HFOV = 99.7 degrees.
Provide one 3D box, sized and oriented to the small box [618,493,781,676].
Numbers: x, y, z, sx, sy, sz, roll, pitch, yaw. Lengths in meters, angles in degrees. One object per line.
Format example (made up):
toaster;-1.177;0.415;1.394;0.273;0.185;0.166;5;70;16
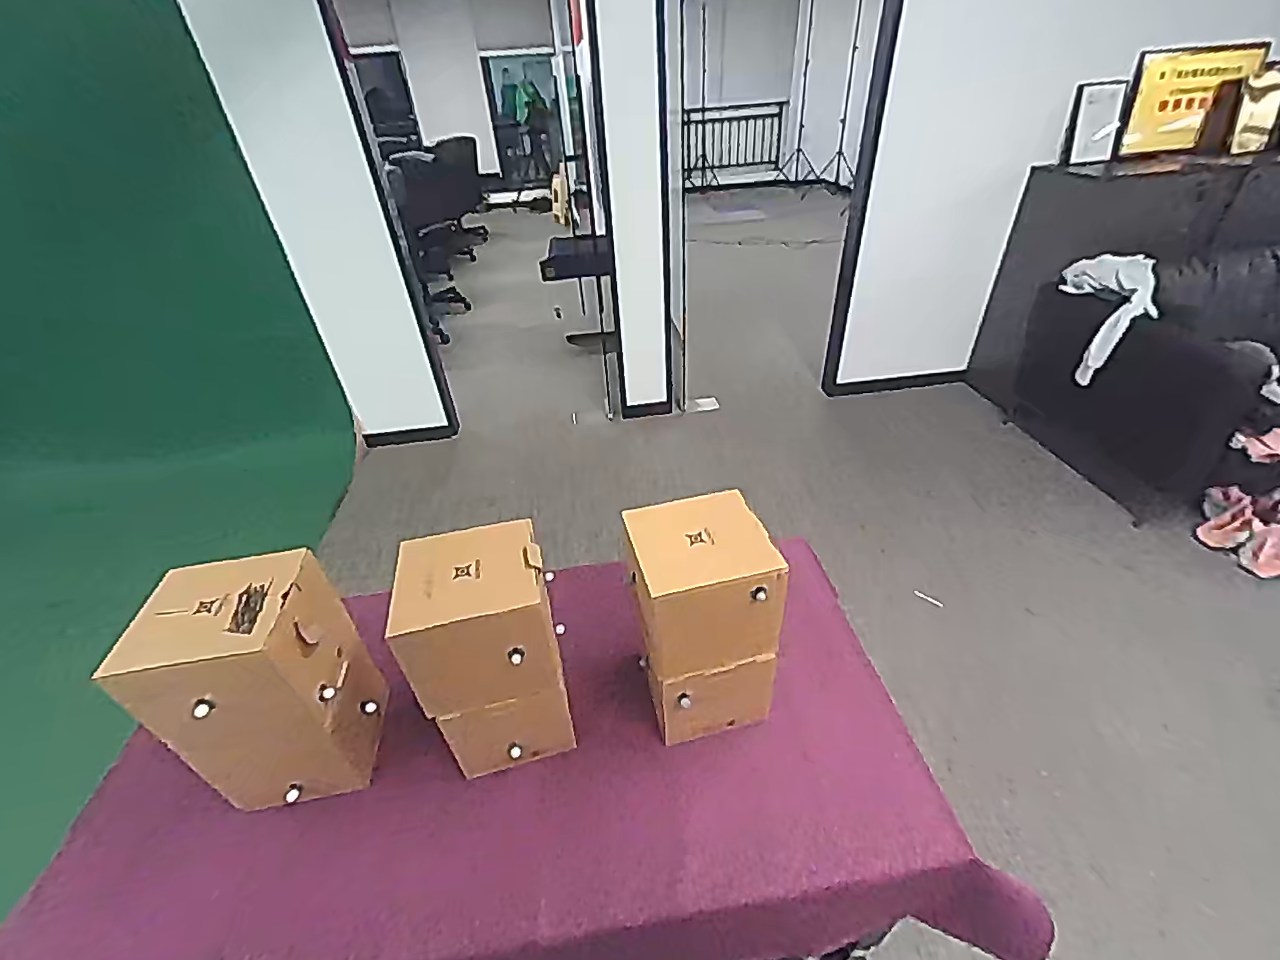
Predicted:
small box;0.077;0.145;0.751;0.179;0.176;0.168;-11;37;-9

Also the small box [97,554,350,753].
small box;-0.507;0.223;0.699;0.179;0.176;0.168;-9;38;-5

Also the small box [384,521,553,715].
small box;-0.216;0.184;0.726;0.179;0.176;0.168;-11;37;-8

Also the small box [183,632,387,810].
small box;-0.499;0.354;0.797;0.179;0.176;0.168;-8;37;-6

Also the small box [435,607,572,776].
small box;-0.204;0.312;0.827;0.168;0.176;0.179;-12;38;-10
